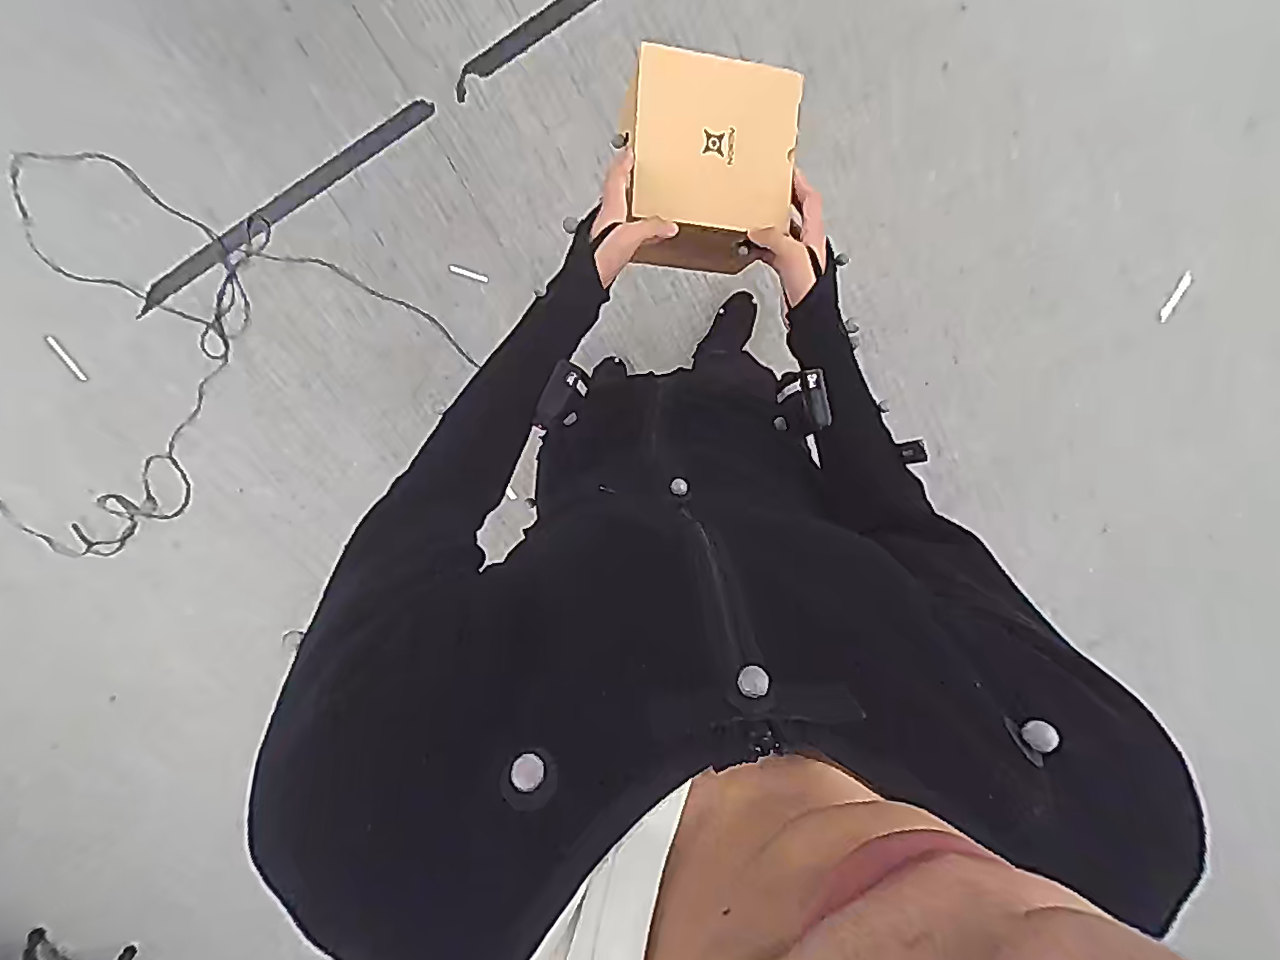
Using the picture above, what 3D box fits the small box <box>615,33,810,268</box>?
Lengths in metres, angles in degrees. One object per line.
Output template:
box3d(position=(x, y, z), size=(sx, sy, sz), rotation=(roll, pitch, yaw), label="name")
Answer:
box3d(position=(0.068, -0.352, 0.616), size=(0.179, 0.176, 0.168), rotation=(2, 97, -12), label="small box")
